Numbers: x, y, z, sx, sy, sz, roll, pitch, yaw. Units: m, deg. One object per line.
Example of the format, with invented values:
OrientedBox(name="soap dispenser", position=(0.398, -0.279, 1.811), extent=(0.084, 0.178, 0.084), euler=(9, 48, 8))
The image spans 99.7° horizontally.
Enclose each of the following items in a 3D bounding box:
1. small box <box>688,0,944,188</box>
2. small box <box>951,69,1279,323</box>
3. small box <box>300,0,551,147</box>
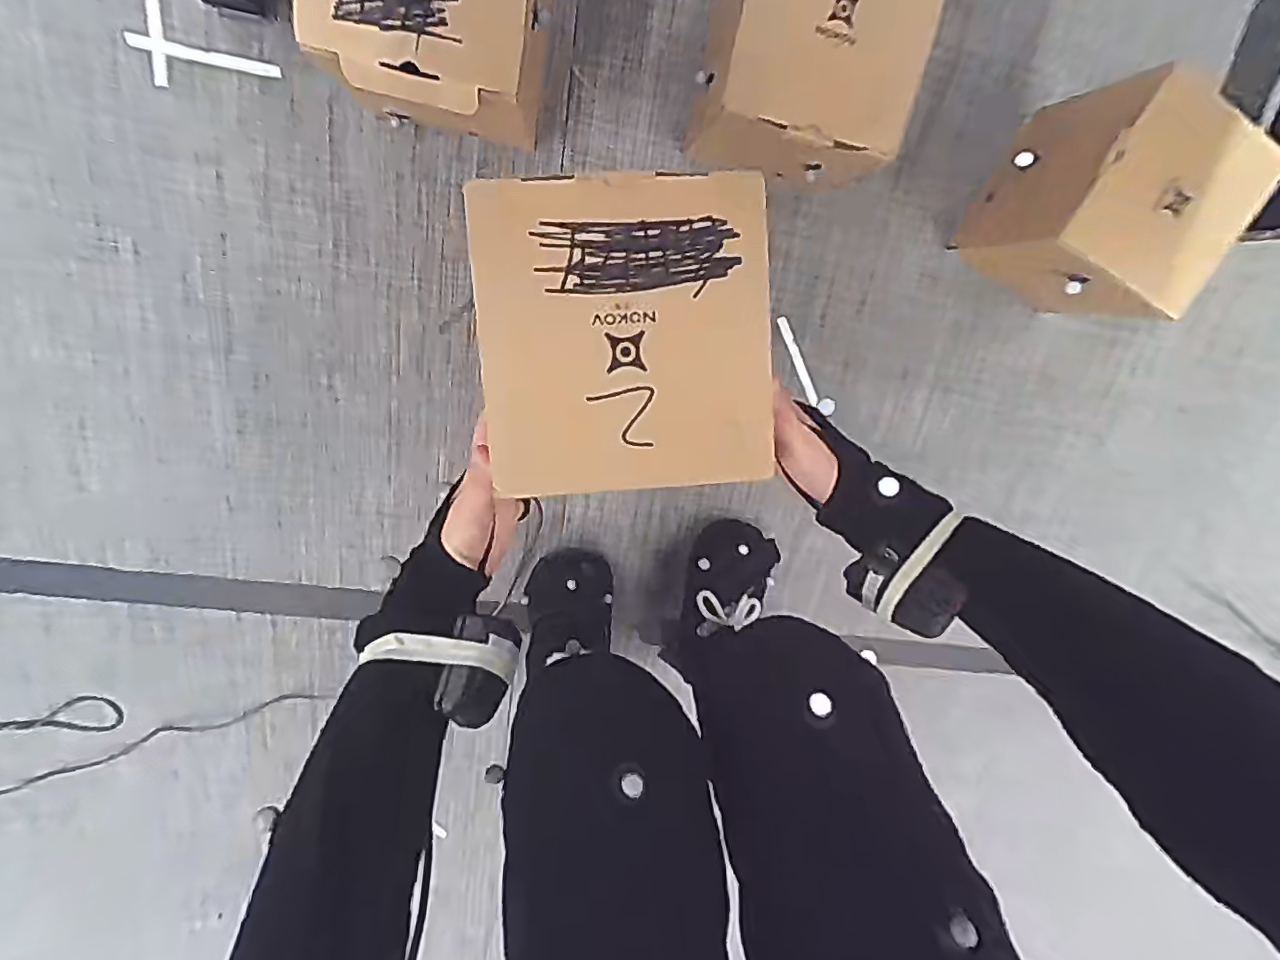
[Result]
OrientedBox(name="small box", position=(0.152, -0.400, 0.514), extent=(0.168, 0.176, 0.179), euler=(8, 107, -11))
OrientedBox(name="small box", position=(0.500, -0.293, 0.596), extent=(0.179, 0.176, 0.168), euler=(23, 105, -14))
OrientedBox(name="small box", position=(-0.167, -0.416, 0.466), extent=(0.168, 0.176, 0.179), euler=(7, 108, -10))
